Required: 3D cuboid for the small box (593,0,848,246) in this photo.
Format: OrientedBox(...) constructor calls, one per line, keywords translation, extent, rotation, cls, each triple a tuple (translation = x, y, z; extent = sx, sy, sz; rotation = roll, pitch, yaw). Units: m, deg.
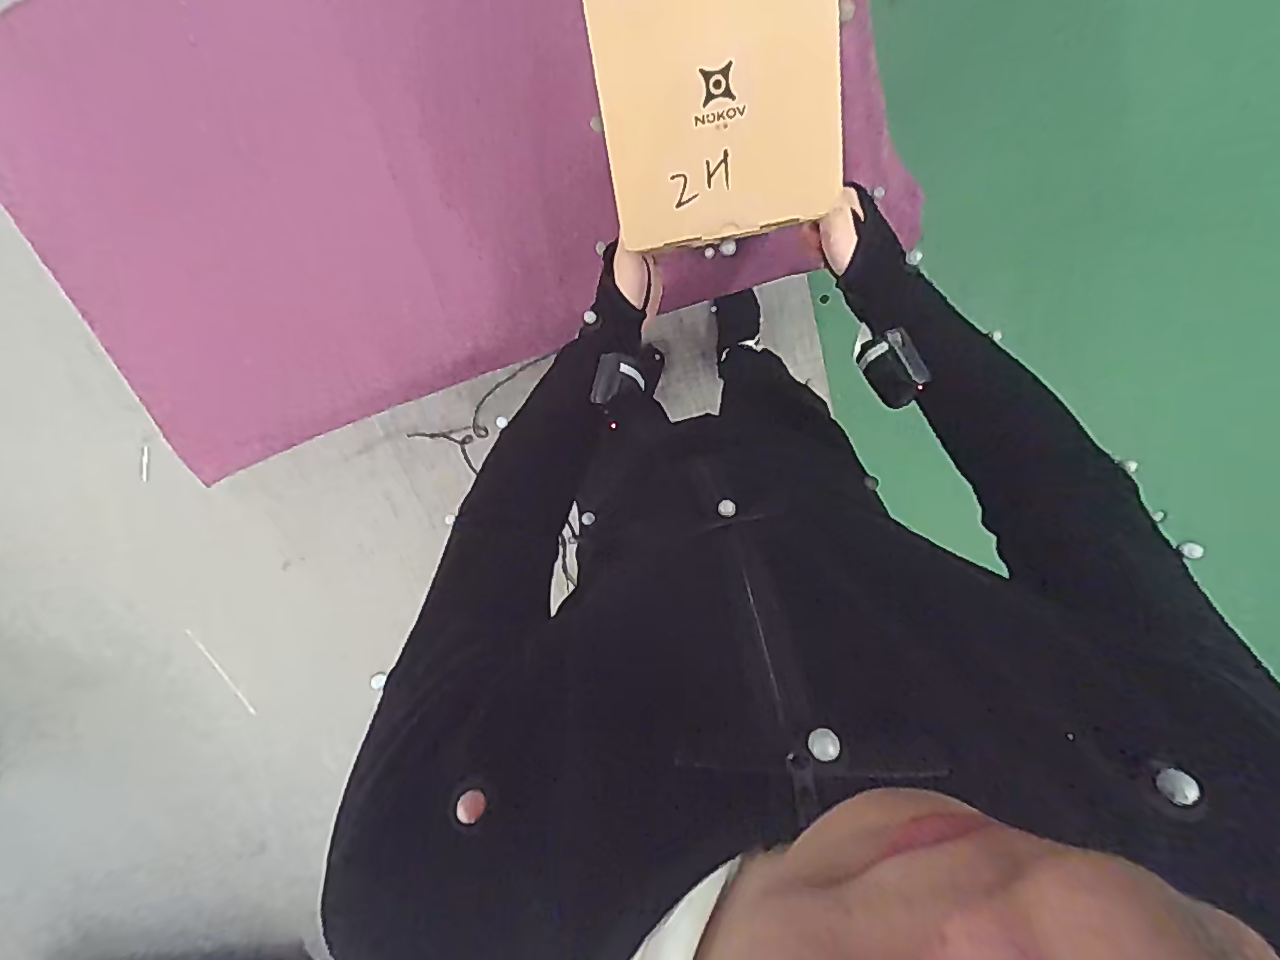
OrientedBox(translation=(0.066, -0.297, 0.443), extent=(0.168, 0.176, 0.179), rotation=(-5, 113, 10), cls="small box")
